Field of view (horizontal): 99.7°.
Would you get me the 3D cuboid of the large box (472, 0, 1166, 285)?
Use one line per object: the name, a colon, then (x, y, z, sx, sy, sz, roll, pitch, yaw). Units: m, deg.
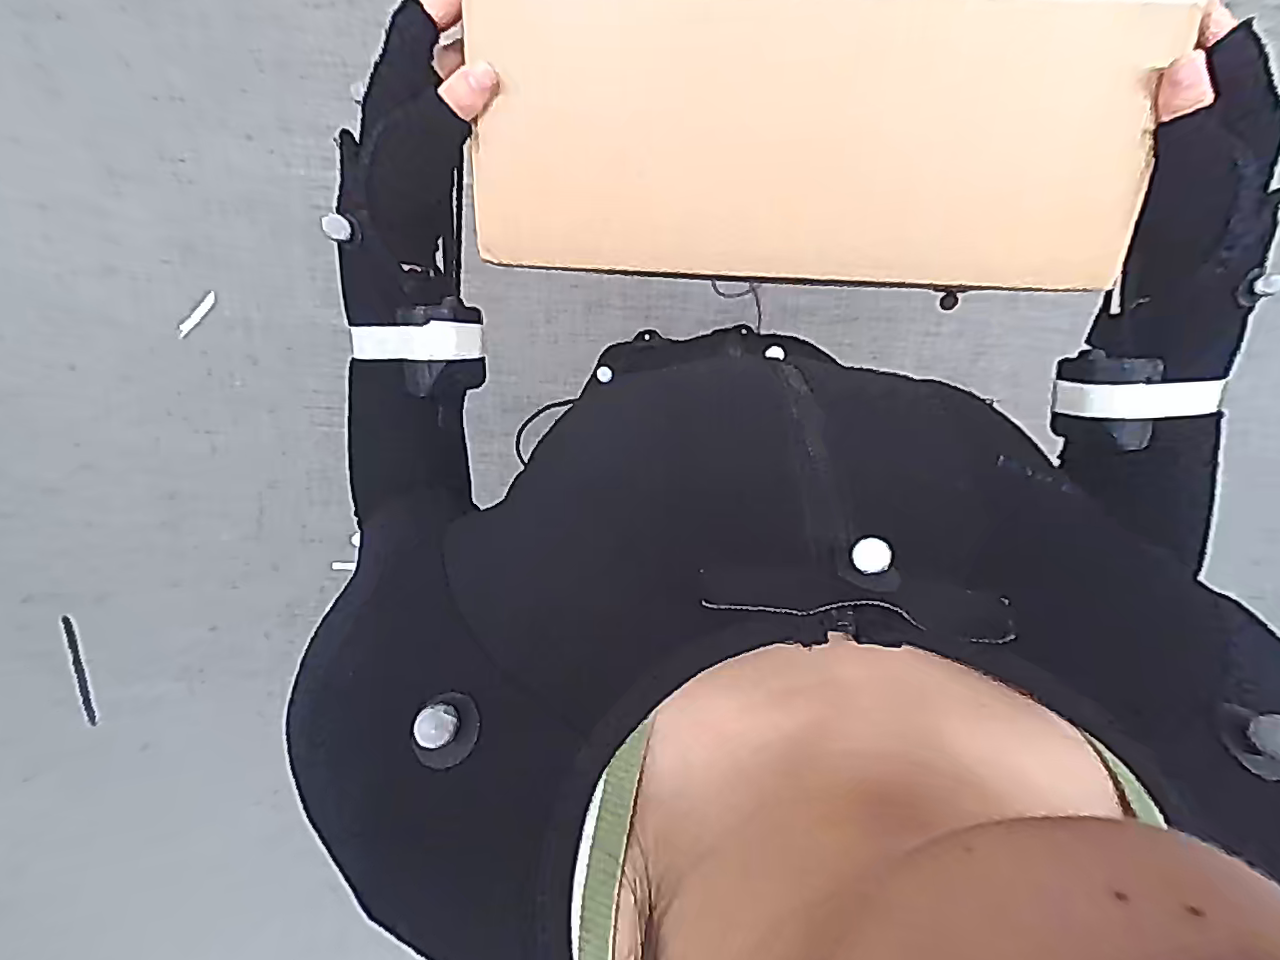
large box: (0.104, -0.334, 0.443, 0.408, 0.320, 0.320, 2, 110, -1)
